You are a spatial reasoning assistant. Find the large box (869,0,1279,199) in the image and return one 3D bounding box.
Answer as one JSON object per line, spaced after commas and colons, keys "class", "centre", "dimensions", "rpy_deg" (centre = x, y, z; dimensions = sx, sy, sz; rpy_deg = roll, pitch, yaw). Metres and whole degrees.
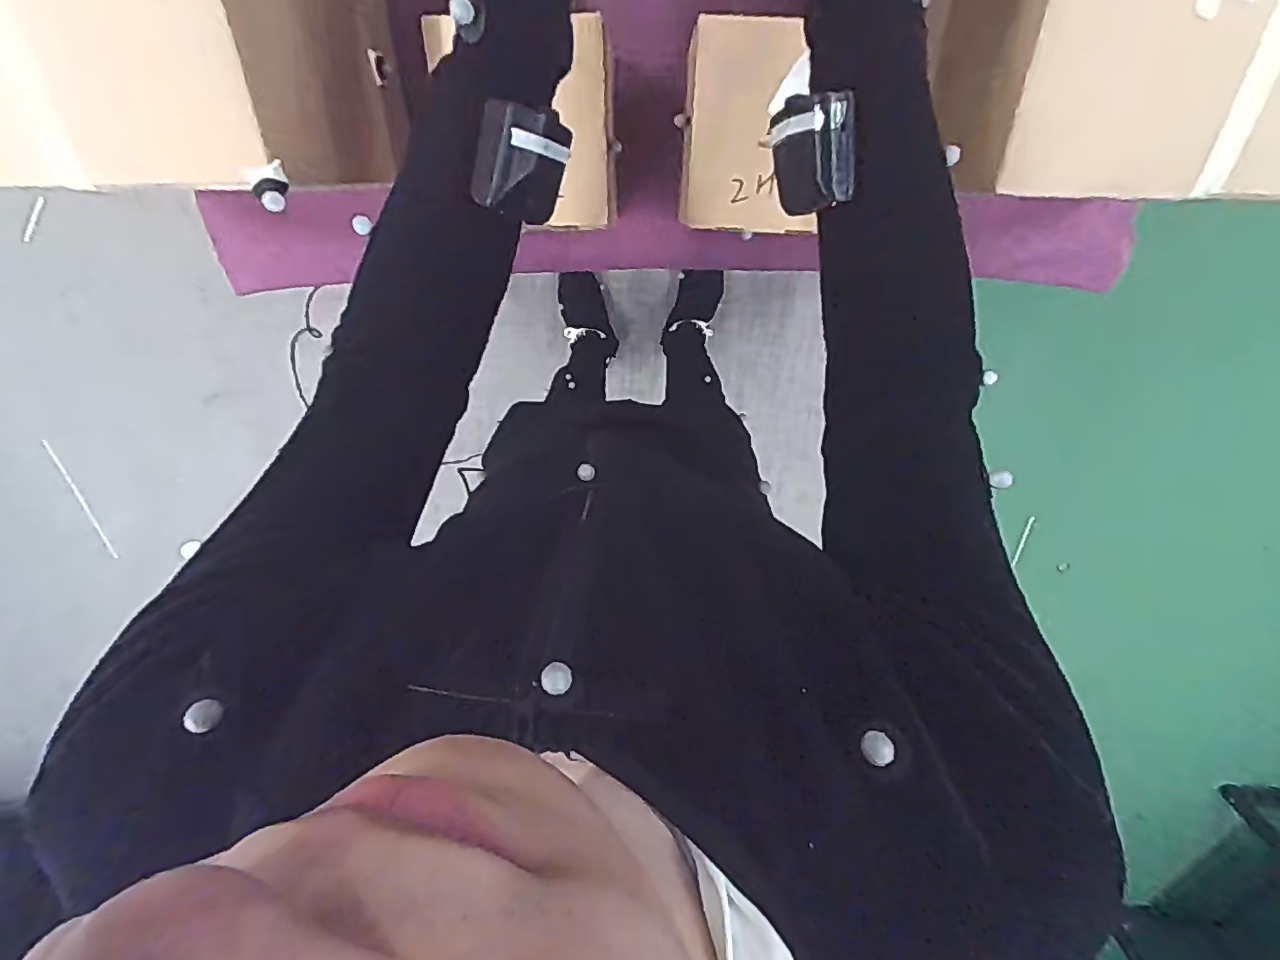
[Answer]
{"class": "large box", "centre": [0.433, -0.470, 0.453], "dimensions": [0.320, 0.320, 0.408], "rpy_deg": [1, 120, 1]}
